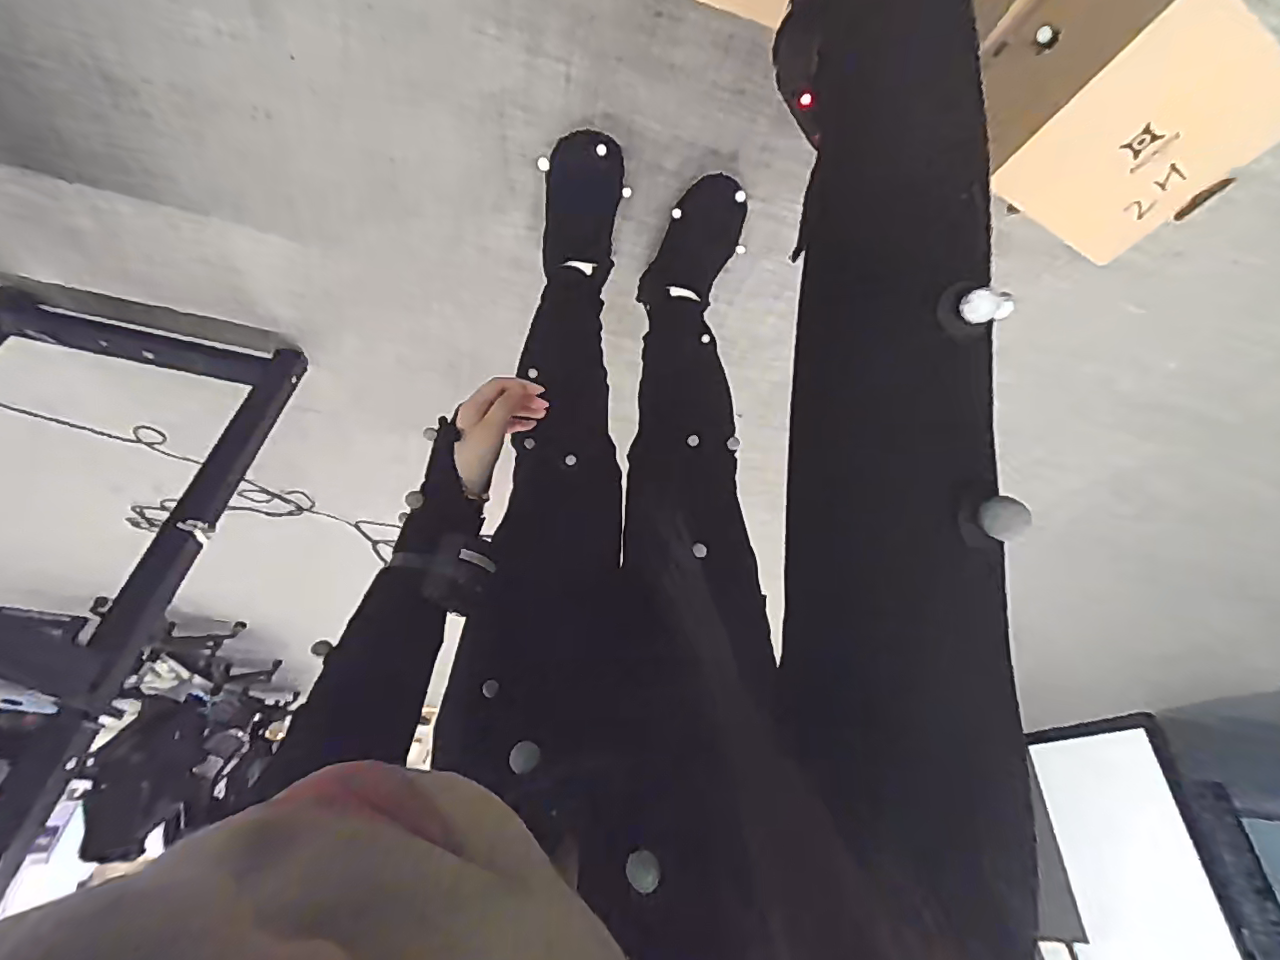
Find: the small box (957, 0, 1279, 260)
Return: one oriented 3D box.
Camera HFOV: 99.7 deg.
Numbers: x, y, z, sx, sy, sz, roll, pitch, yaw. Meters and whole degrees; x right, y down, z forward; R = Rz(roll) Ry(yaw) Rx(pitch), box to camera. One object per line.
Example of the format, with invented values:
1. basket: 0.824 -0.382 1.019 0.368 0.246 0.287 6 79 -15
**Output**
1. small box: 0.422 -0.343 0.479 0.179 0.176 0.168 19 145 -20
